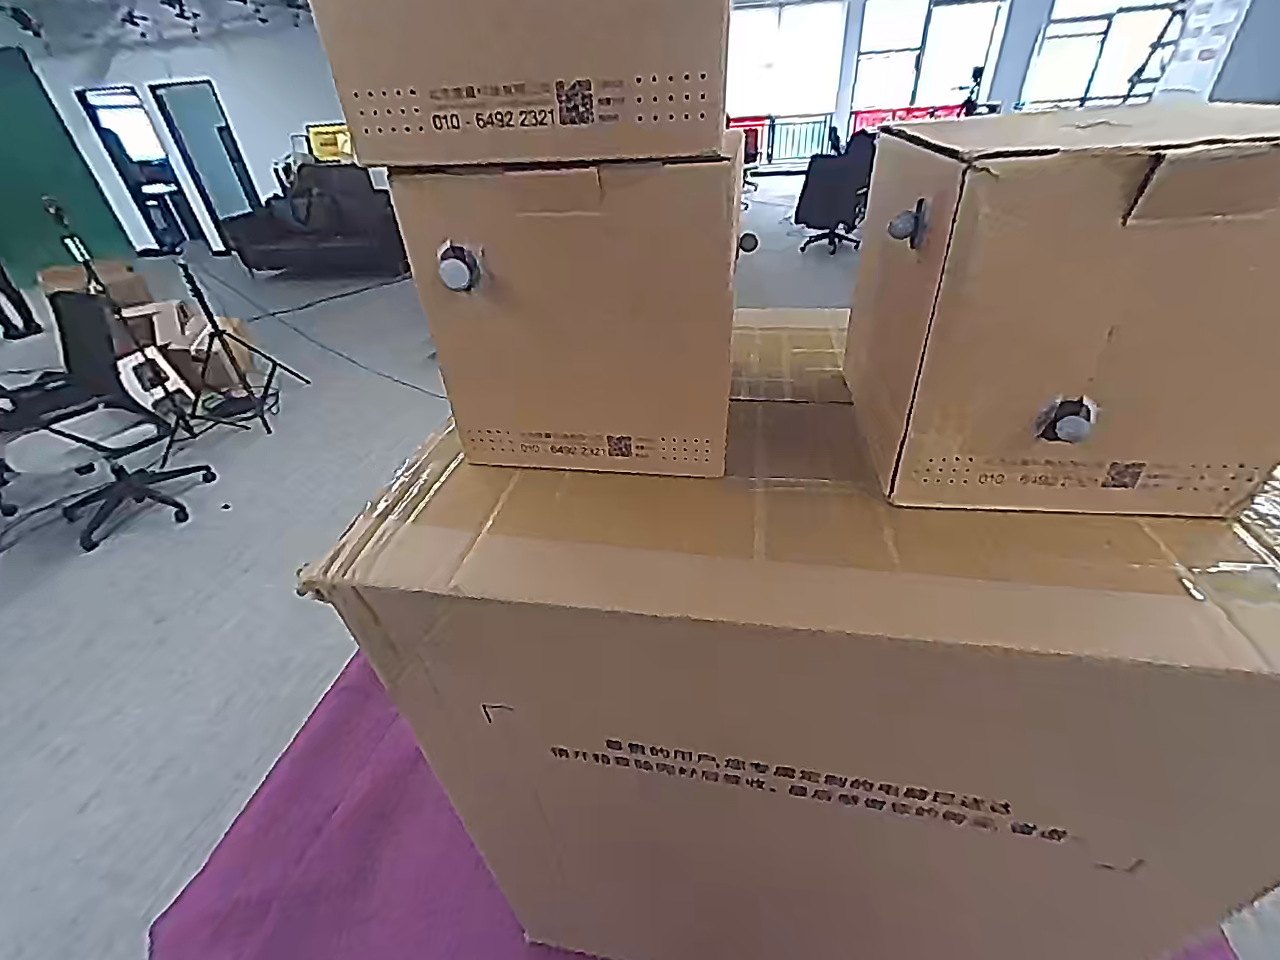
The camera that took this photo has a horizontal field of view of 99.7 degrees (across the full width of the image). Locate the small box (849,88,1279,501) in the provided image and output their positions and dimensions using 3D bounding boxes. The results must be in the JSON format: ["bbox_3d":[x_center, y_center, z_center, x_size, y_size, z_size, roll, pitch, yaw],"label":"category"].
[{"bbox_3d":[0.224,-0.108,0.302,0.168,0.176,0.179,1,36,9],"label":"small box"}]

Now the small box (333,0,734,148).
[{"bbox_3d":[-0.038,-0.259,0.255,0.168,0.176,0.179,2,35,7],"label":"small box"}]
